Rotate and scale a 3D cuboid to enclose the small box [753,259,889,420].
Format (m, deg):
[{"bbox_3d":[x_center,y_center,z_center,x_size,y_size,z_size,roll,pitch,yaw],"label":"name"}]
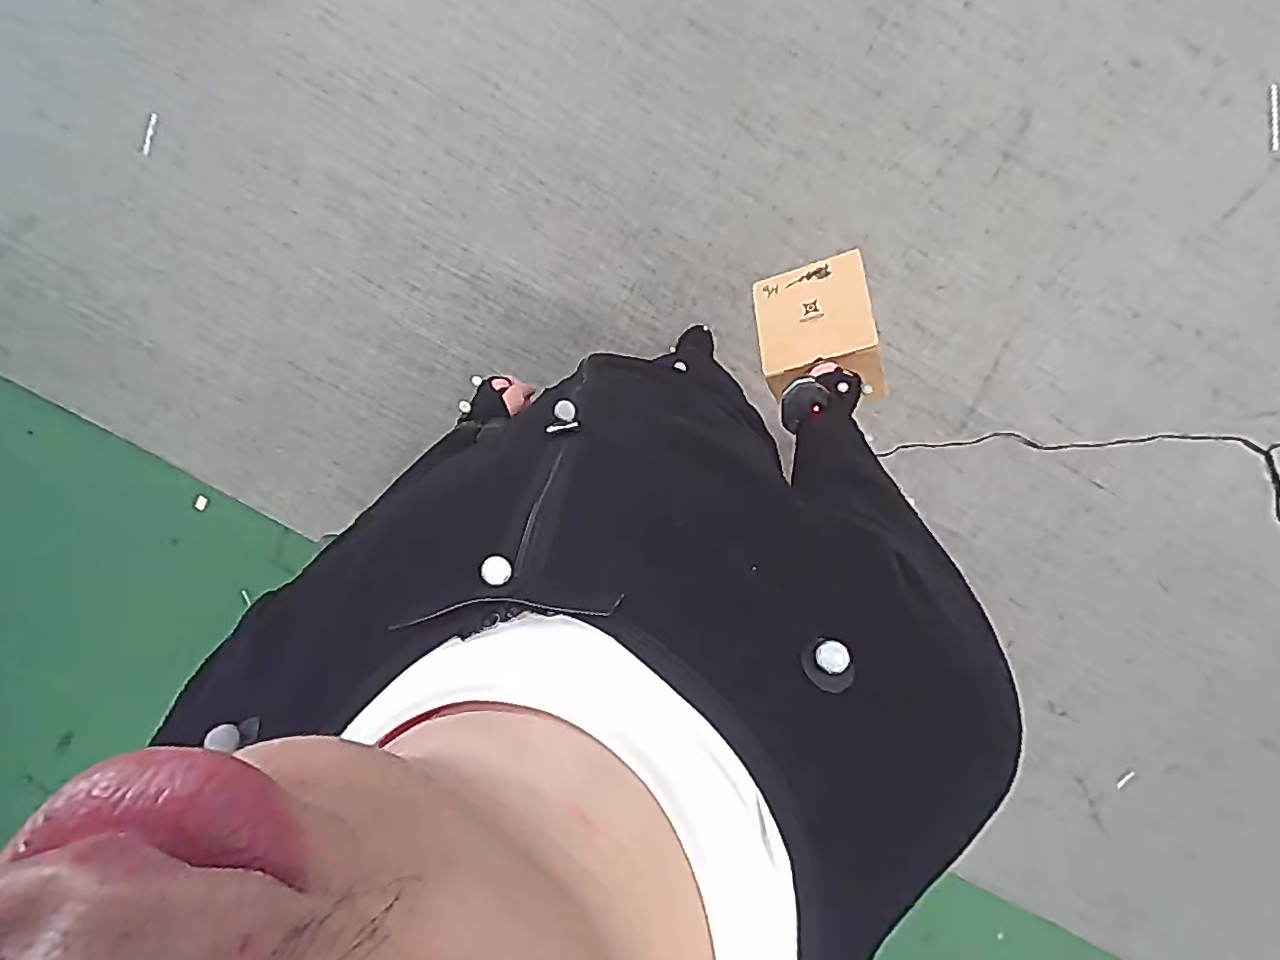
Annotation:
[{"bbox_3d":[0.298,-0.214,0.885,0.168,0.176,0.179,-15,64,24],"label":"small box"}]
